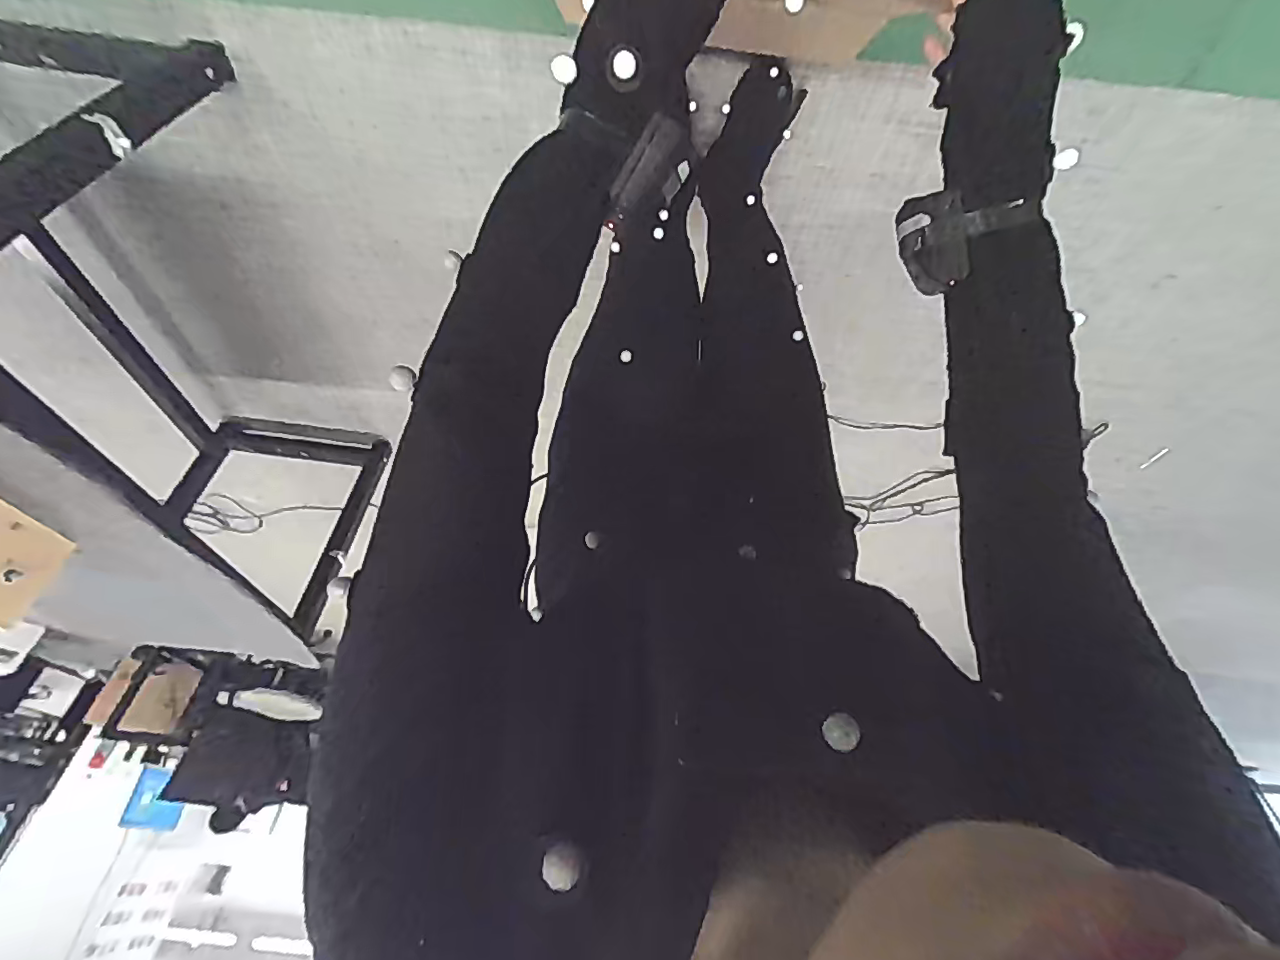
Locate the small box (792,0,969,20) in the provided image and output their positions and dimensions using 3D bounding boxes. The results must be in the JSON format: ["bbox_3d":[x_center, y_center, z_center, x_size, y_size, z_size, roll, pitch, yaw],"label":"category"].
[{"bbox_3d":[0.143,-0.428,0.342,0.168,0.176,0.179,8,127,-12],"label":"small box"}]

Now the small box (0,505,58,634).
[{"bbox_3d":[-1.098,0.129,0.853,0.179,0.176,0.168,6,145,1],"label":"small box"}]
